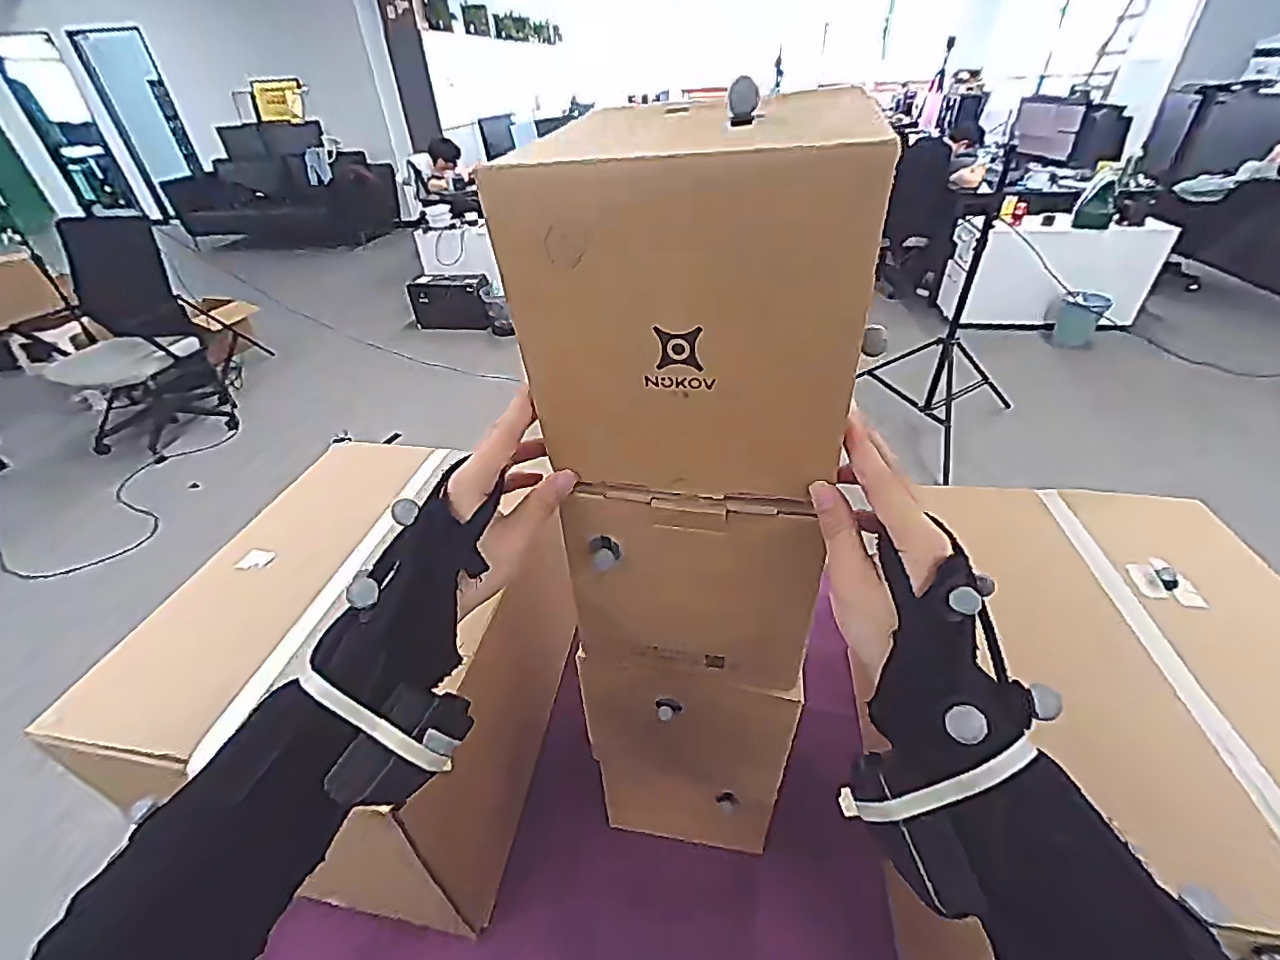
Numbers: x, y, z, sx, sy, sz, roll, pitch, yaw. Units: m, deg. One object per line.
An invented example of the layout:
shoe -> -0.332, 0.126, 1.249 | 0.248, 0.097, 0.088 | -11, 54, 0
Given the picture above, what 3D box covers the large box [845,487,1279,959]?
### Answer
large box -> 0.415, 0.252, 0.534 | 0.320, 0.320, 0.408 | 4, 36, 8
